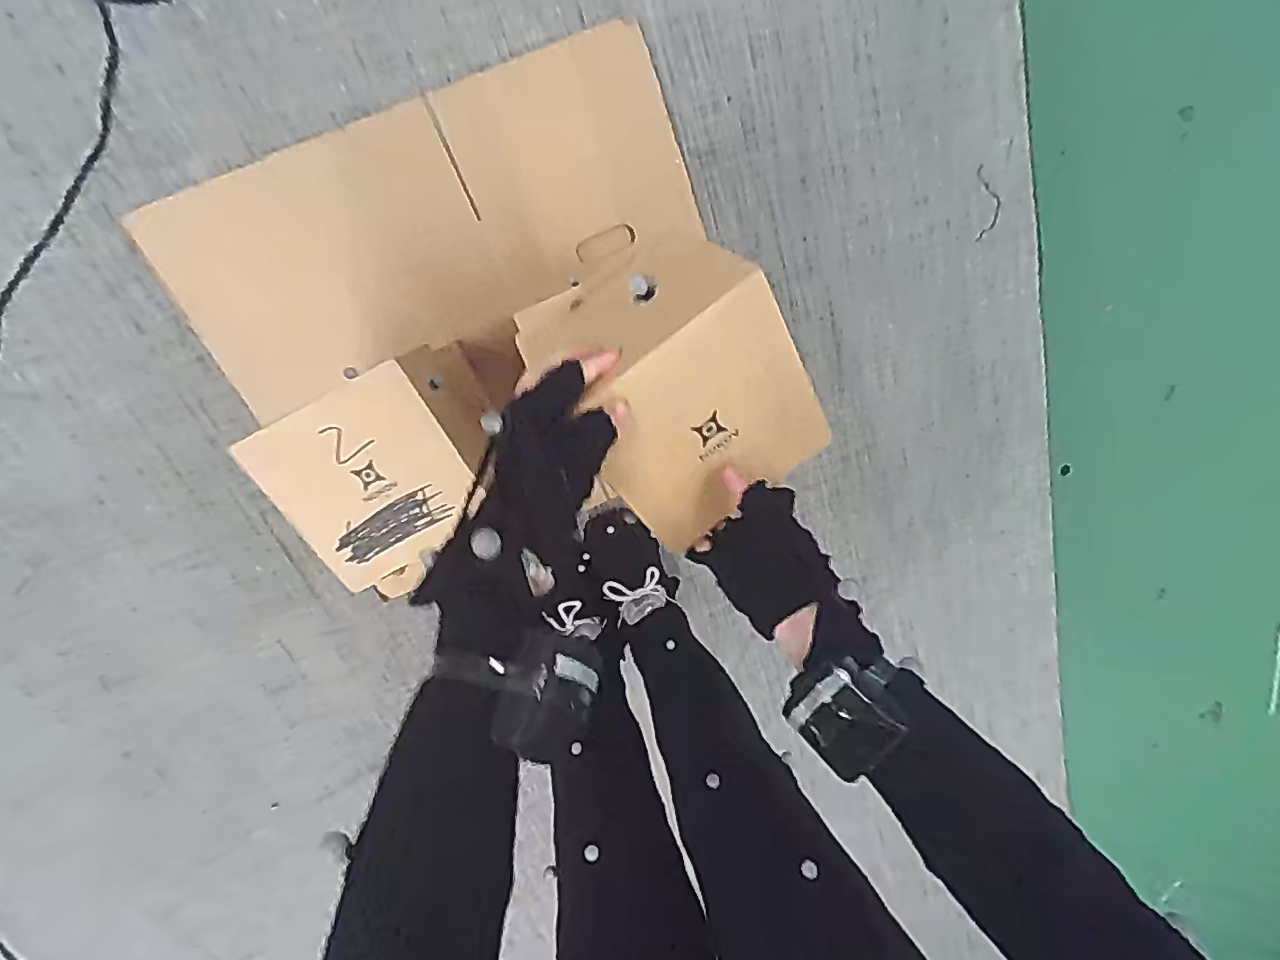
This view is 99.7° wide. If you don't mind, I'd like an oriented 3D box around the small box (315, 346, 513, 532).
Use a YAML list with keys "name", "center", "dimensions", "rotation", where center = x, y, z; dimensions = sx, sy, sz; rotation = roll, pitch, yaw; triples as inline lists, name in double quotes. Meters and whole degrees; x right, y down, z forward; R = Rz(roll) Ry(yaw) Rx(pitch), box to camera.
- name: "small box"
  center: [-0.284, -0.065, 0.730]
  dimensions: [0.168, 0.176, 0.179]
  rotation: [-29, 111, -1]

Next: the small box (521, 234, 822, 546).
- name: "small box"
  center: [0.020, -0.084, 0.462]
  dimensions: [0.168, 0.176, 0.179]
  rotation: [-35, 132, 4]
